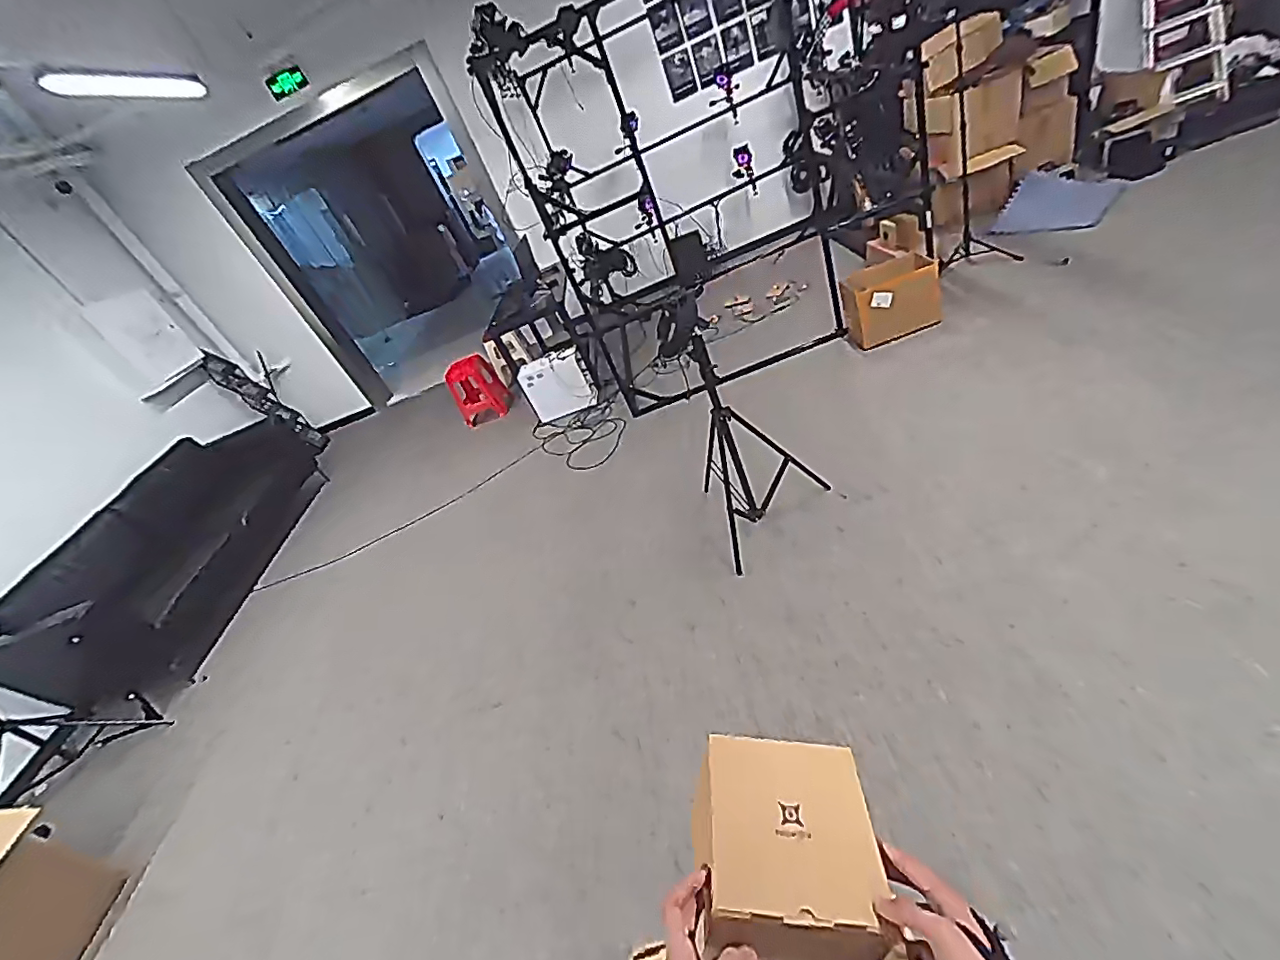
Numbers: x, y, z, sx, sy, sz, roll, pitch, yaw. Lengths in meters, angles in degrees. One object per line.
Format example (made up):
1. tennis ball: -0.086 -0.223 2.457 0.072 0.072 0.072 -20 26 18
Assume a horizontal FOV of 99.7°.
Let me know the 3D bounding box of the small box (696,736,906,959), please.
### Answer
1. small box: 0.151 0.412 0.583 0.168 0.176 0.179 4 32 2
